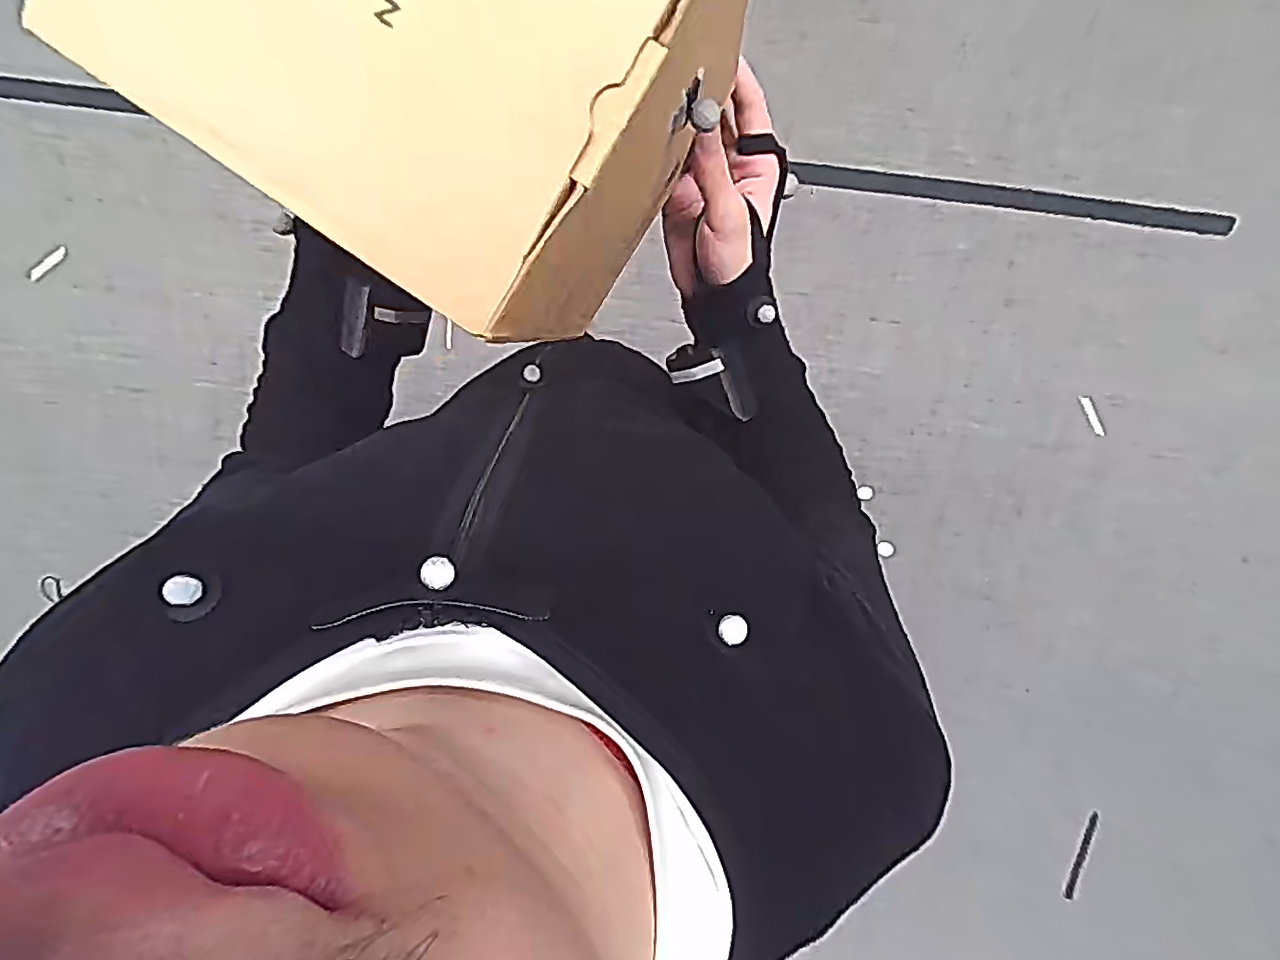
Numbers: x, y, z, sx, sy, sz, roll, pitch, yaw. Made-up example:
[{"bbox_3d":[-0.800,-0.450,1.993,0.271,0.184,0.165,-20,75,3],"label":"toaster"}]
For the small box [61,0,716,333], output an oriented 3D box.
[{"bbox_3d":[-0.076,-0.186,0.248,0.179,0.176,0.168,34,105,-3],"label":"small box"}]
